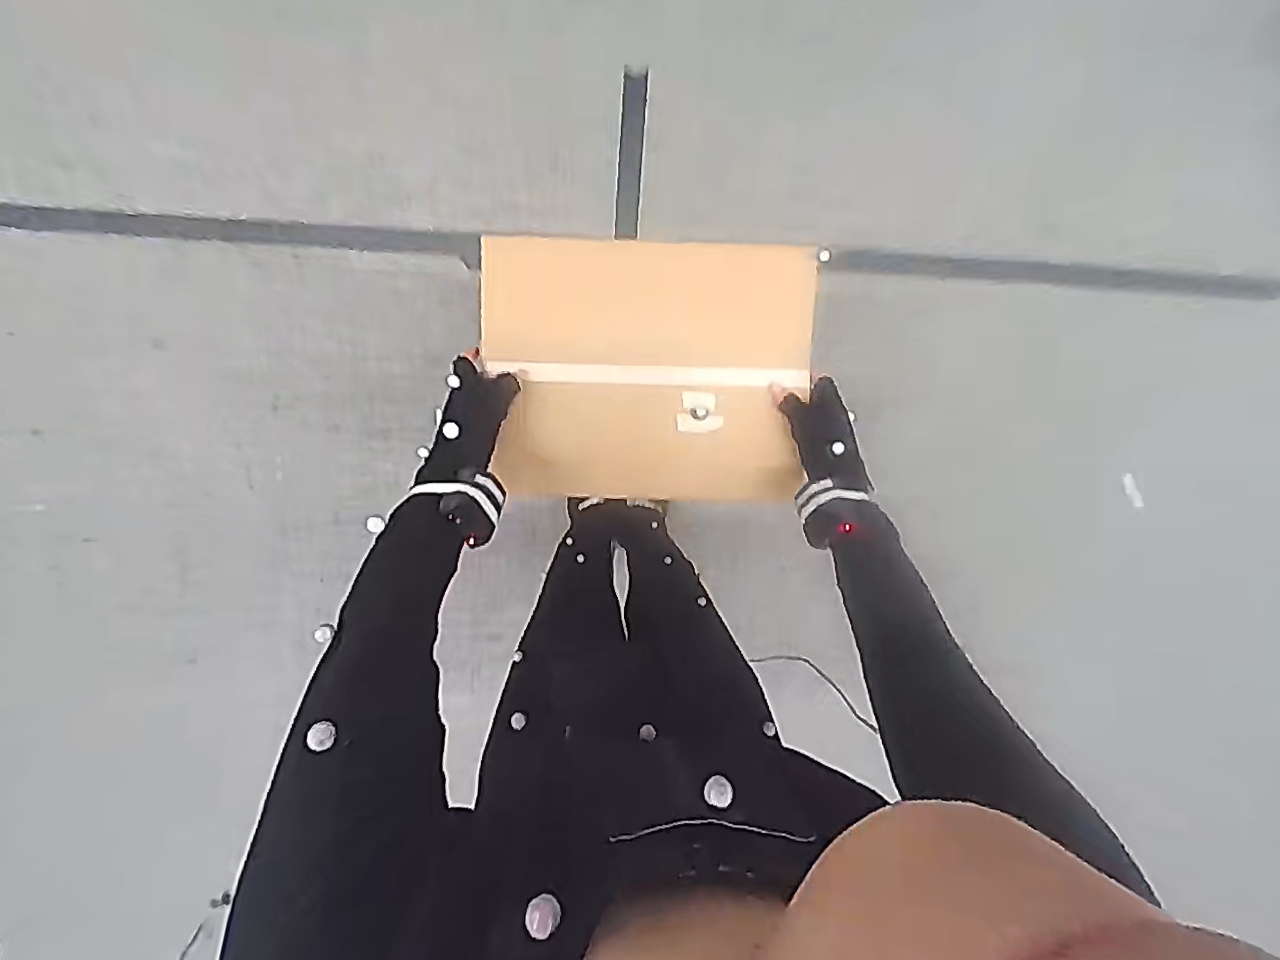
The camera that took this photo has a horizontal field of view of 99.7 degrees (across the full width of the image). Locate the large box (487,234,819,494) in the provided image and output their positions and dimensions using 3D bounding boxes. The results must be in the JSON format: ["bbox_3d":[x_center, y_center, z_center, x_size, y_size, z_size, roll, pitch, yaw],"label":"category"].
[{"bbox_3d":[0.010,-0.157,0.810,0.408,0.320,0.320,1,99,-2],"label":"large box"}]
